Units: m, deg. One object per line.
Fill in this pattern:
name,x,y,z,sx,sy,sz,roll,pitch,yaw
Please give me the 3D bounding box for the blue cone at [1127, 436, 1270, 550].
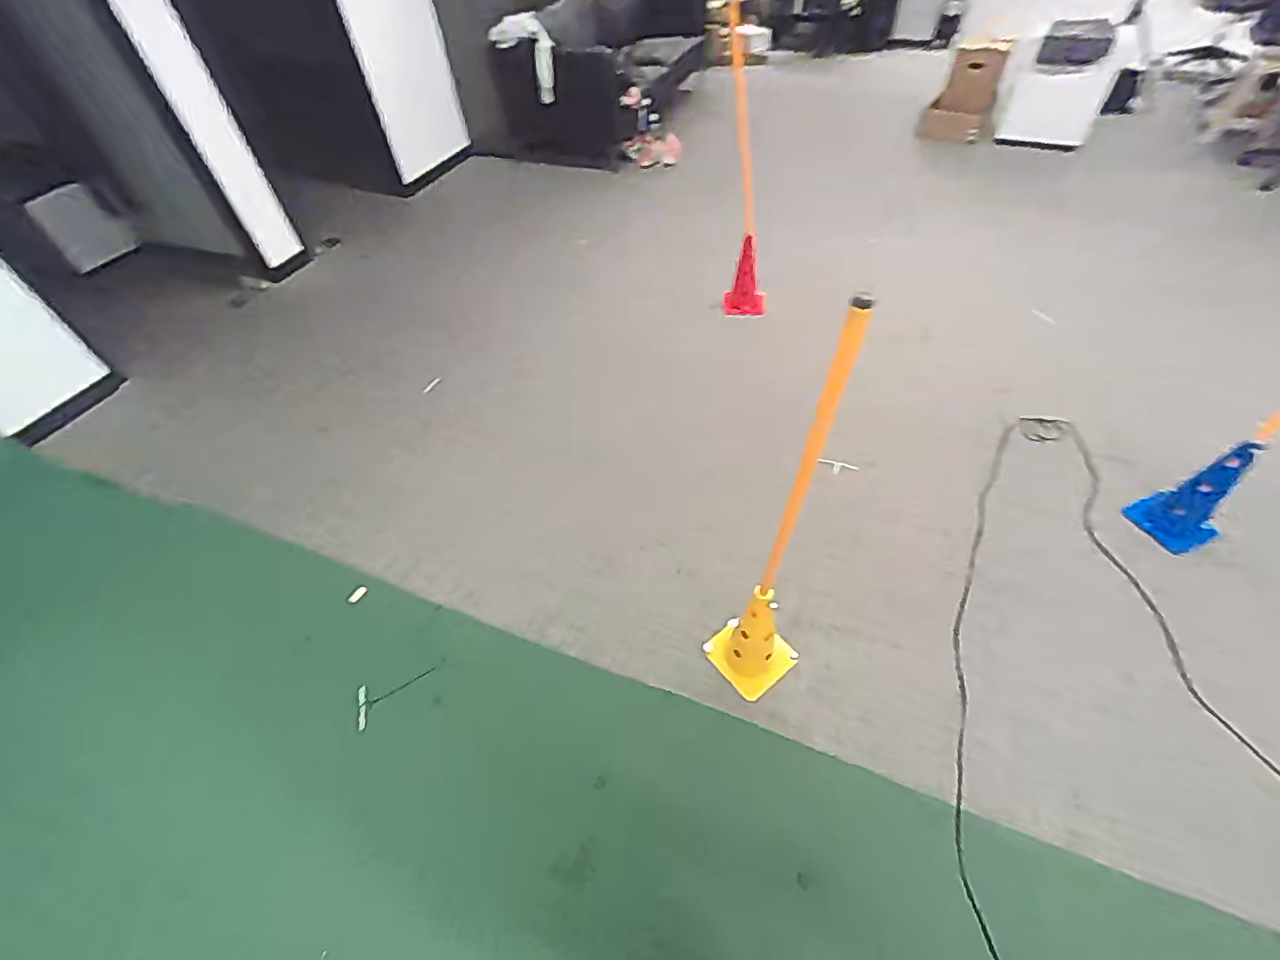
blue cone,1.677,0.015,1.598,0.193,0.380,0.192,-18,49,-14
